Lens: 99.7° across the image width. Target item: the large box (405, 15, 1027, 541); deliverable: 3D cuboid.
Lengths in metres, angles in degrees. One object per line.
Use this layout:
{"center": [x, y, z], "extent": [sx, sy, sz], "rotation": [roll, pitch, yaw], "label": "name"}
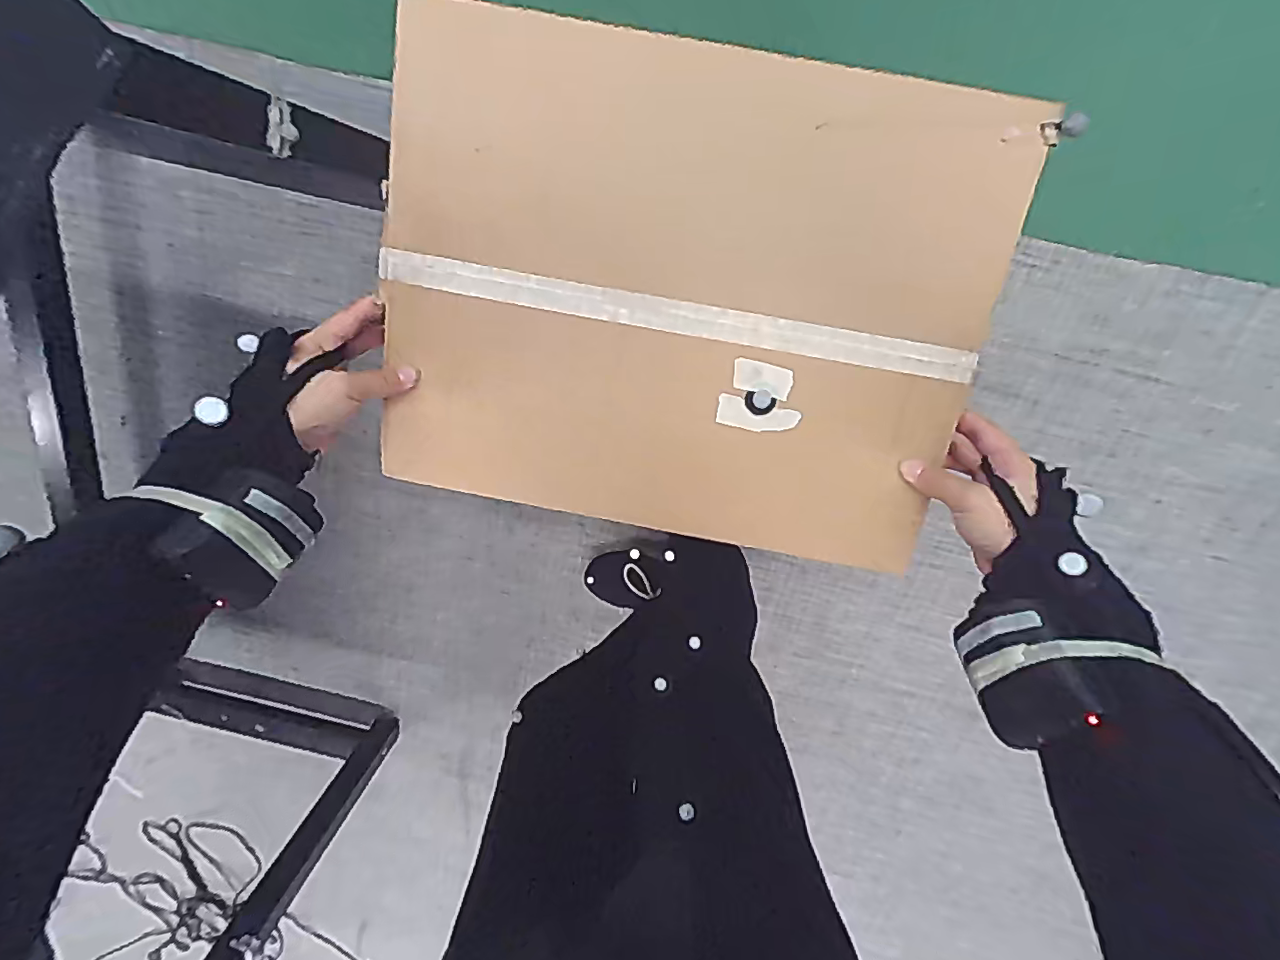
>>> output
{"center": [0.037, -0.164, 0.529], "extent": [0.408, 0.320, 0.320], "rotation": [10, 107, 0], "label": "large box"}
